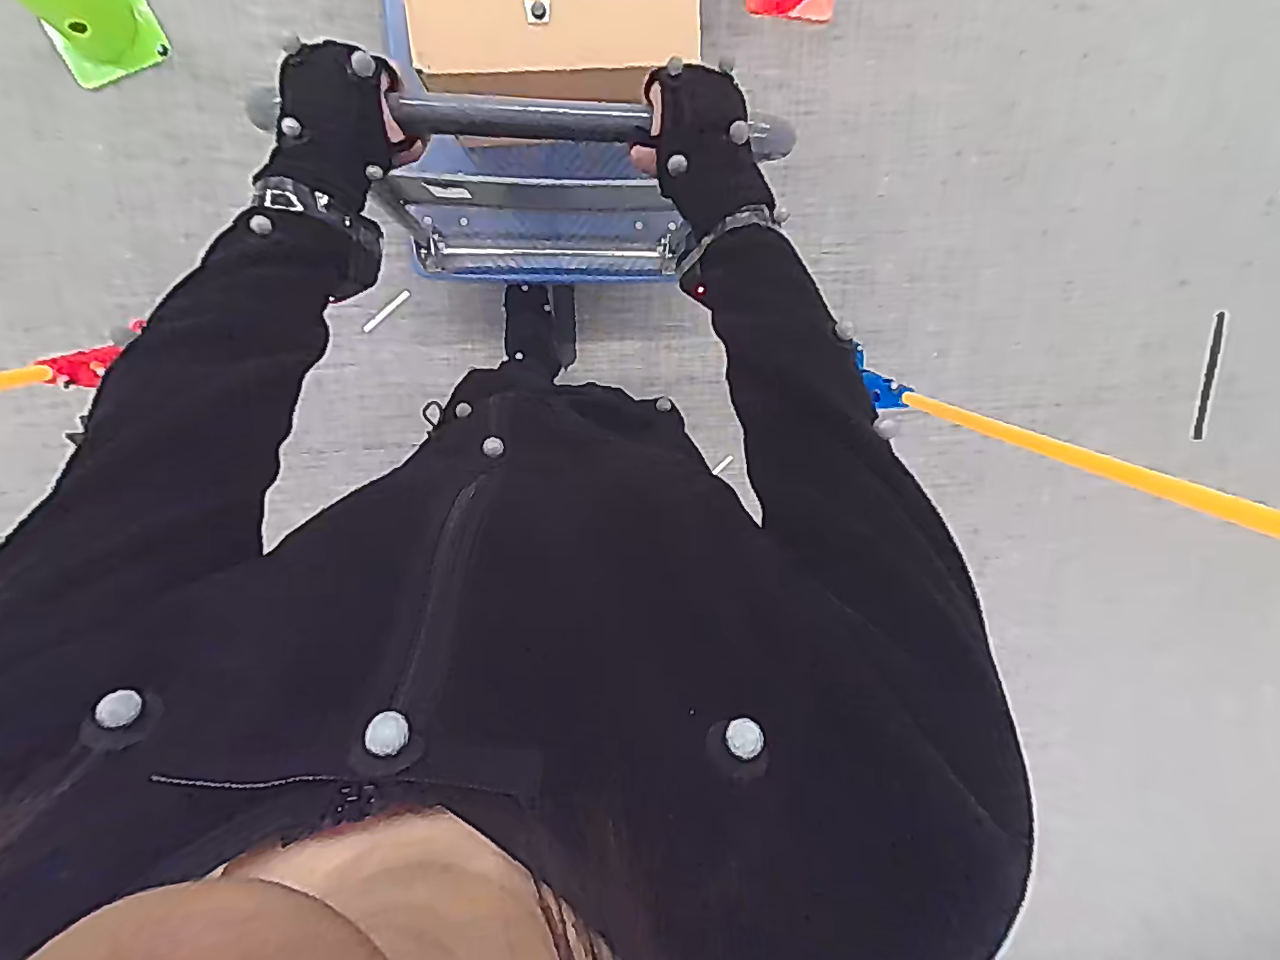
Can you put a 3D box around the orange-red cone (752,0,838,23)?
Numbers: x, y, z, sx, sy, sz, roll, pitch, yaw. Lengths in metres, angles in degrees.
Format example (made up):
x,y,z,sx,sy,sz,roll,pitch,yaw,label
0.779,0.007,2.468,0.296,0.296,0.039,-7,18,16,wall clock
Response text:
x,y,z,sx,sy,sz,roll,pitch,yaw,label
0.370,-1.080,1.014,0.199,0.360,0.198,3,105,-9,orange-red cone
